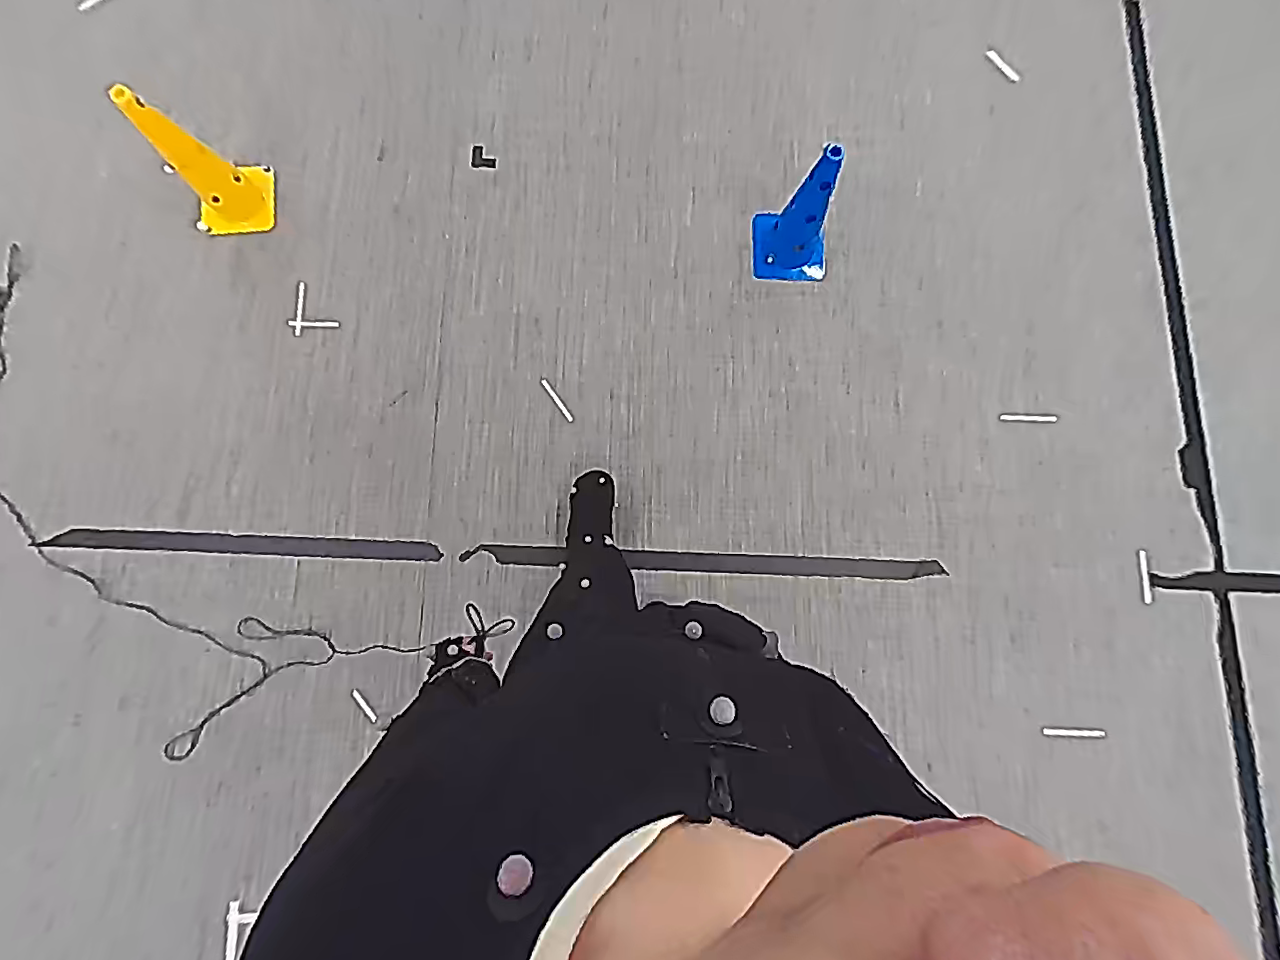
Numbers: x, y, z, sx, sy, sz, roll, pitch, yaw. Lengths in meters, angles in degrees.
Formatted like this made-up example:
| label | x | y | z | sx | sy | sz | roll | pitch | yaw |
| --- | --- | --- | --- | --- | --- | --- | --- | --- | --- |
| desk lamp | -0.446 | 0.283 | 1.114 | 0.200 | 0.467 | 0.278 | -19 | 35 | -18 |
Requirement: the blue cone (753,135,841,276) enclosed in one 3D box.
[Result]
| label | x | y | z | sx | sy | sz | roll | pitch | yaw |
| --- | --- | --- | --- | --- | --- | --- | --- | --- | --- |
| blue cone | 0.412 | -0.681 | 1.336 | 0.193 | 0.380 | 0.192 | 2 | 80 | 0 |
